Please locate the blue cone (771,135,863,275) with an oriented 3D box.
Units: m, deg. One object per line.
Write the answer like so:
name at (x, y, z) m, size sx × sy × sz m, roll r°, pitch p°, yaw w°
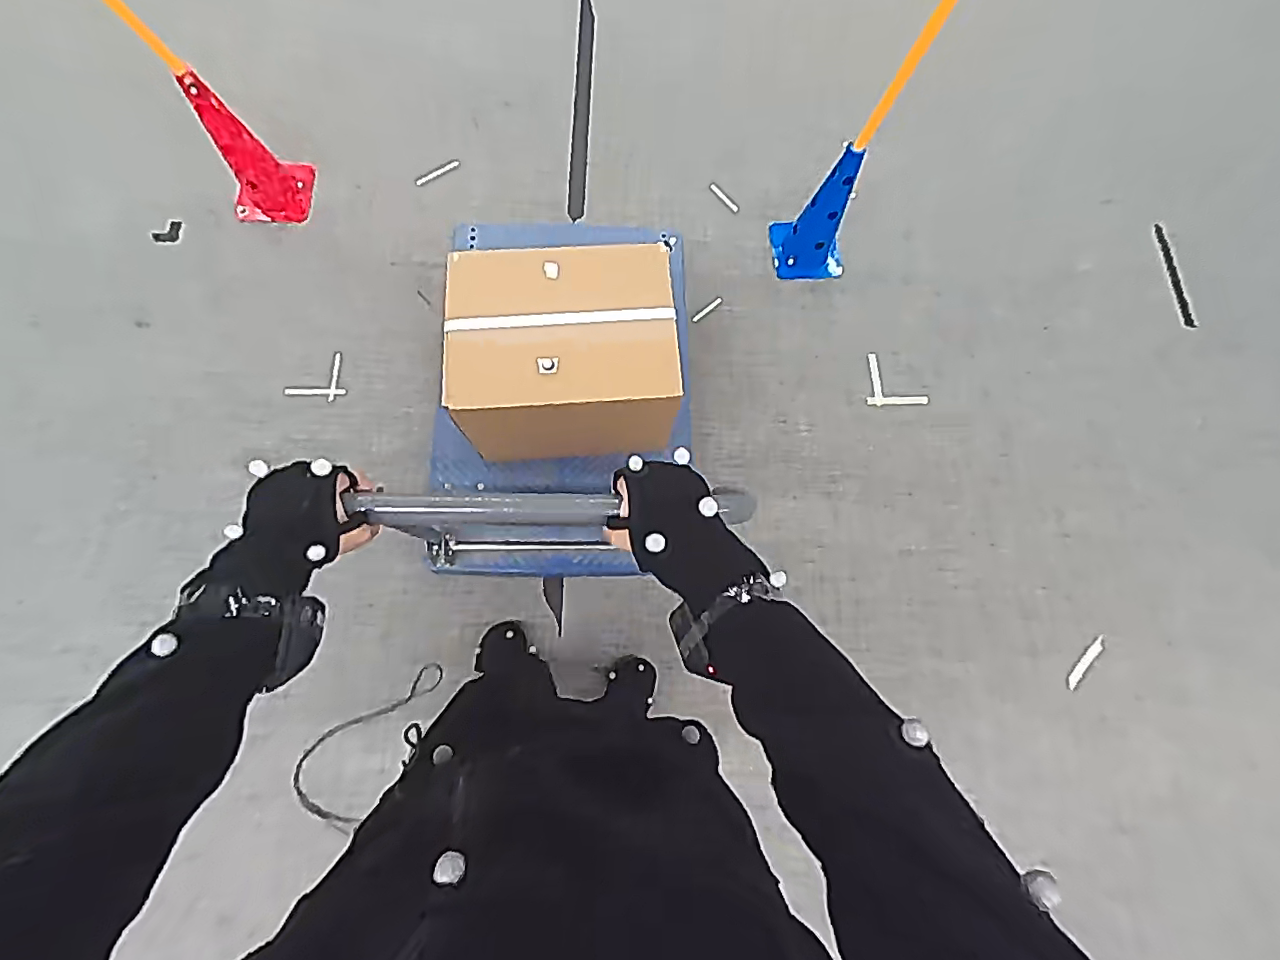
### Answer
blue cone at (0.500, -0.735, 1.445) m, size 0.193 × 0.380 × 0.192 m, roll -3°, pitch 74°, yaw -5°
